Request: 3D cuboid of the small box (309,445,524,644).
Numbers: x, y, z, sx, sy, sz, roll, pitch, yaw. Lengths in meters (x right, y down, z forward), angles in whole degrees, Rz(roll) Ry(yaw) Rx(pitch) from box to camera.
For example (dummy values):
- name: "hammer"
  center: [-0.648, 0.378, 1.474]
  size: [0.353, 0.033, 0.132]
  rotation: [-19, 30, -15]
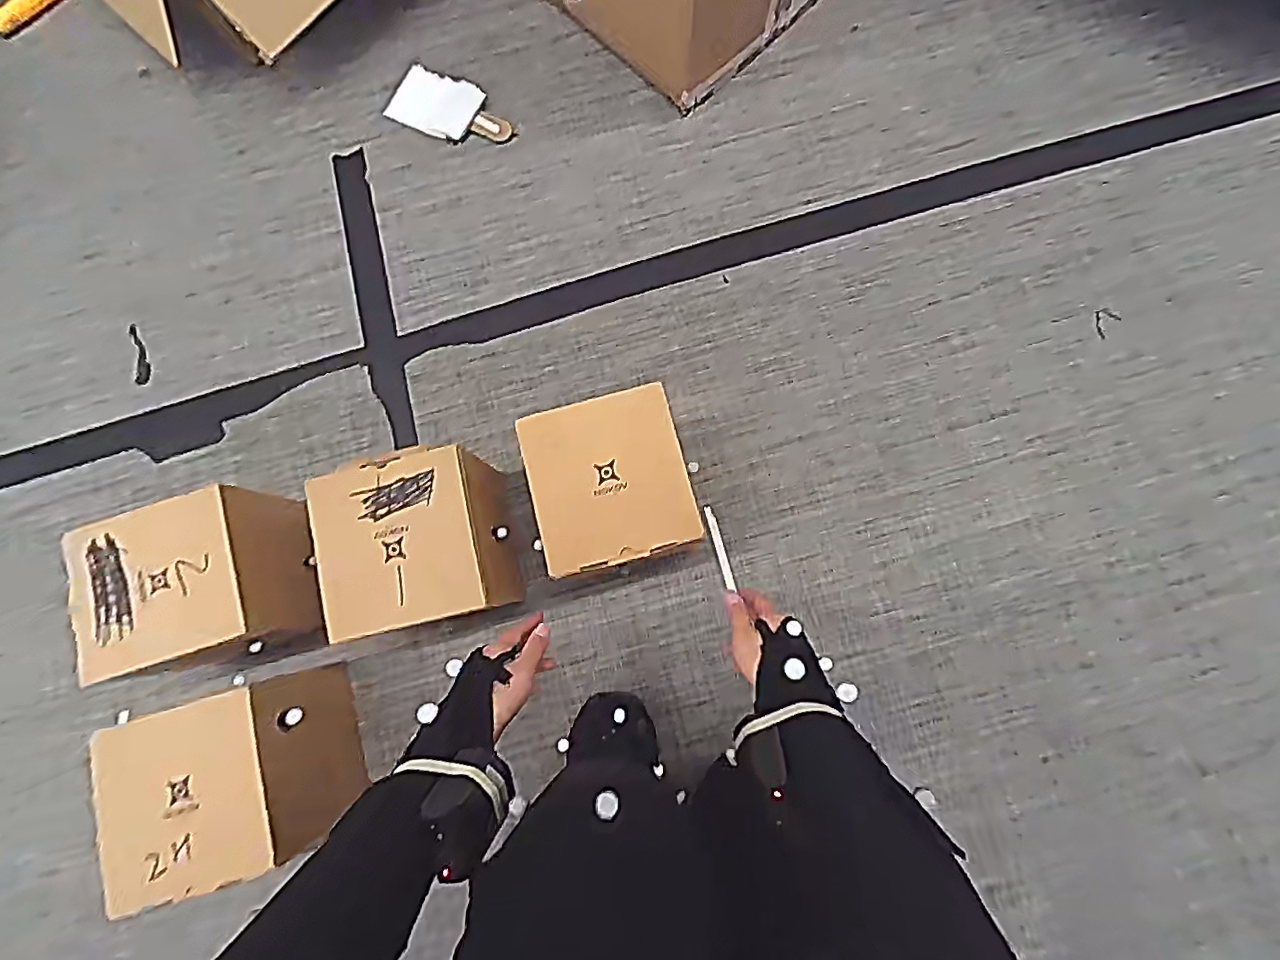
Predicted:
- name: "small box"
  center: [-0.246, 0.077, 0.630]
  size: [0.168, 0.176, 0.179]
  rotation: [-14, 81, -1]

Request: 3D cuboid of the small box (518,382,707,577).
- name: "small box"
  center: [-0.030, 0.011, 0.637]
  size: [0.168, 0.176, 0.179]
  rotation: [-15, 80, -1]

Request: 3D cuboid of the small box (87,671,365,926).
- name: "small box"
  center: [-0.433, 0.321, 0.590]
  size: [0.168, 0.176, 0.179]
  rotation: [-17, 80, -1]
